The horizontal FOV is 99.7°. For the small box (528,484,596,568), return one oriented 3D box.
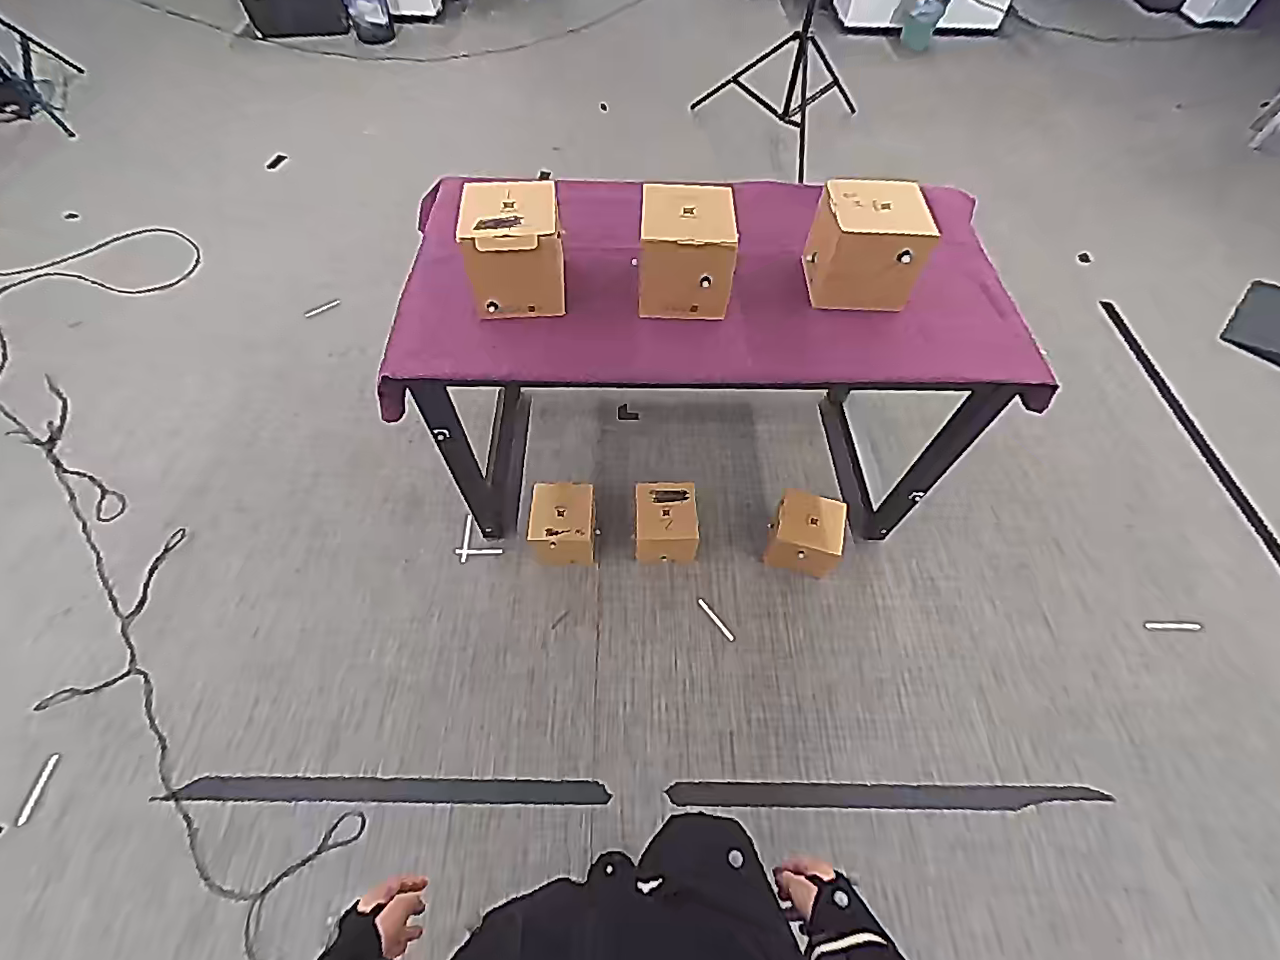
[{"bbox_3d":[-0.212,0.131,1.524,0.168,0.176,0.179,2,57,0],"label":"small box"}]

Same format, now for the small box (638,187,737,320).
[{"bbox_3d":[0.082,-0.421,1.017,0.168,0.176,0.179,2,56,-2],"label":"small box"}]

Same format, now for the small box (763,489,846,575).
[{"bbox_3d":[0.461,0.153,1.530,0.179,0.176,0.168,14,60,9],"label":"small box"}]

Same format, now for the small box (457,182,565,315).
[{"bbox_3d":[-0.229,-0.422,1.005,0.168,0.176,0.179,-4,57,-4],"label":"small box"}]

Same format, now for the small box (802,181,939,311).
[{"bbox_3d":[0.429,-0.444,1.038,0.179,0.176,0.168,2,57,0],"label":"small box"}]
